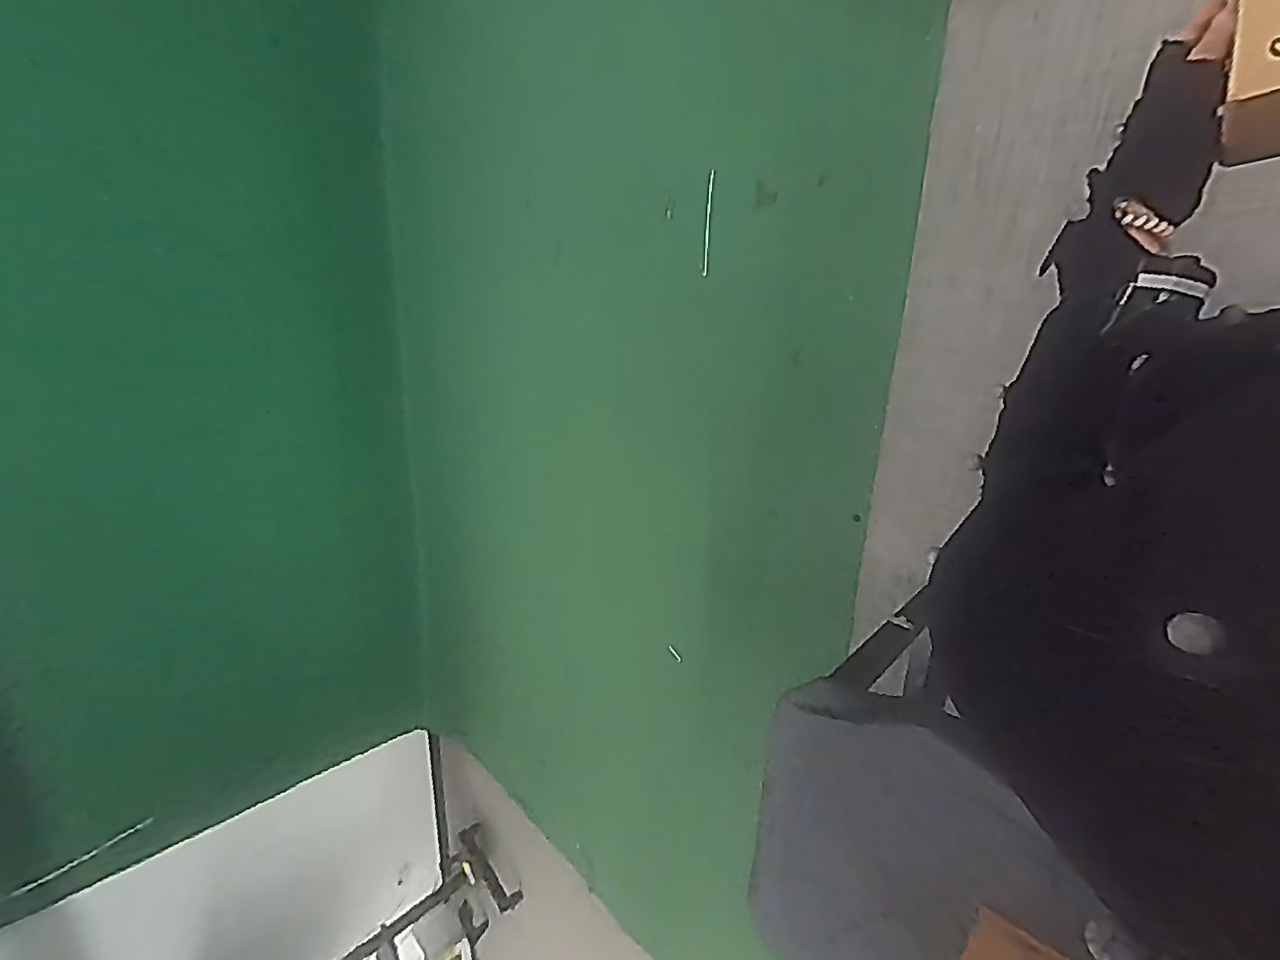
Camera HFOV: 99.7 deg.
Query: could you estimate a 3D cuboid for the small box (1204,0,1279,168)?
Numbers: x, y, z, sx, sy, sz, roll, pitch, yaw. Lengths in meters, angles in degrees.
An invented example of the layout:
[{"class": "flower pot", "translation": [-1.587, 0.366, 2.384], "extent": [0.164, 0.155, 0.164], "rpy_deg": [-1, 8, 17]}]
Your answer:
[{"class": "small box", "translation": [0.459, -0.306, 0.306], "extent": [0.179, 0.176, 0.168], "rpy_deg": [8, 103, 44]}]
